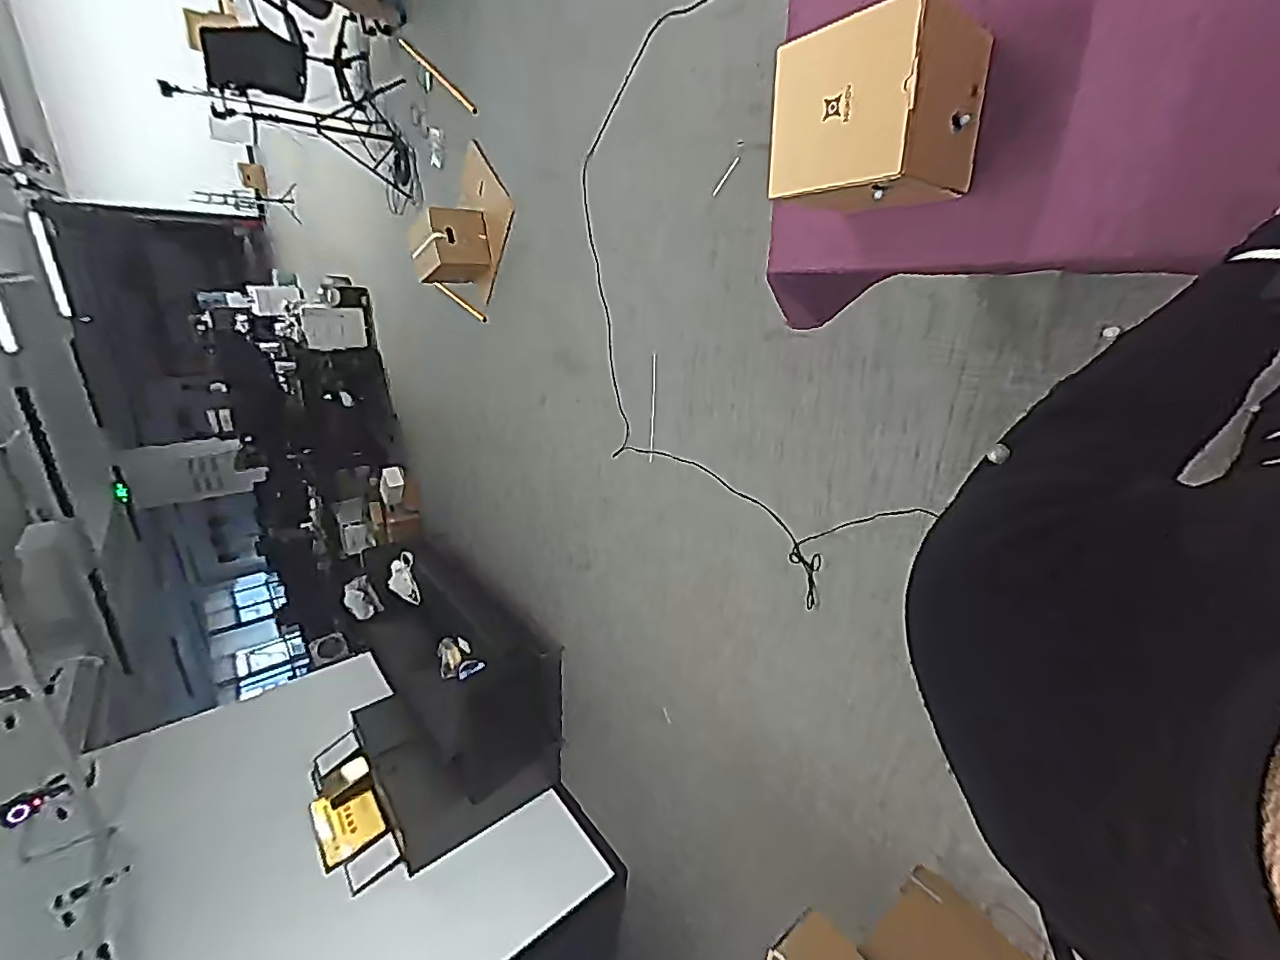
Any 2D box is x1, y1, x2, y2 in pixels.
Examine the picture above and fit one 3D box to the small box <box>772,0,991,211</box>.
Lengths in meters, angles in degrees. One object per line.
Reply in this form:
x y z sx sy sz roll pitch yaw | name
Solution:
0.289 -0.436 0.661 0.179 0.176 0.168 20 116 47 | small box
